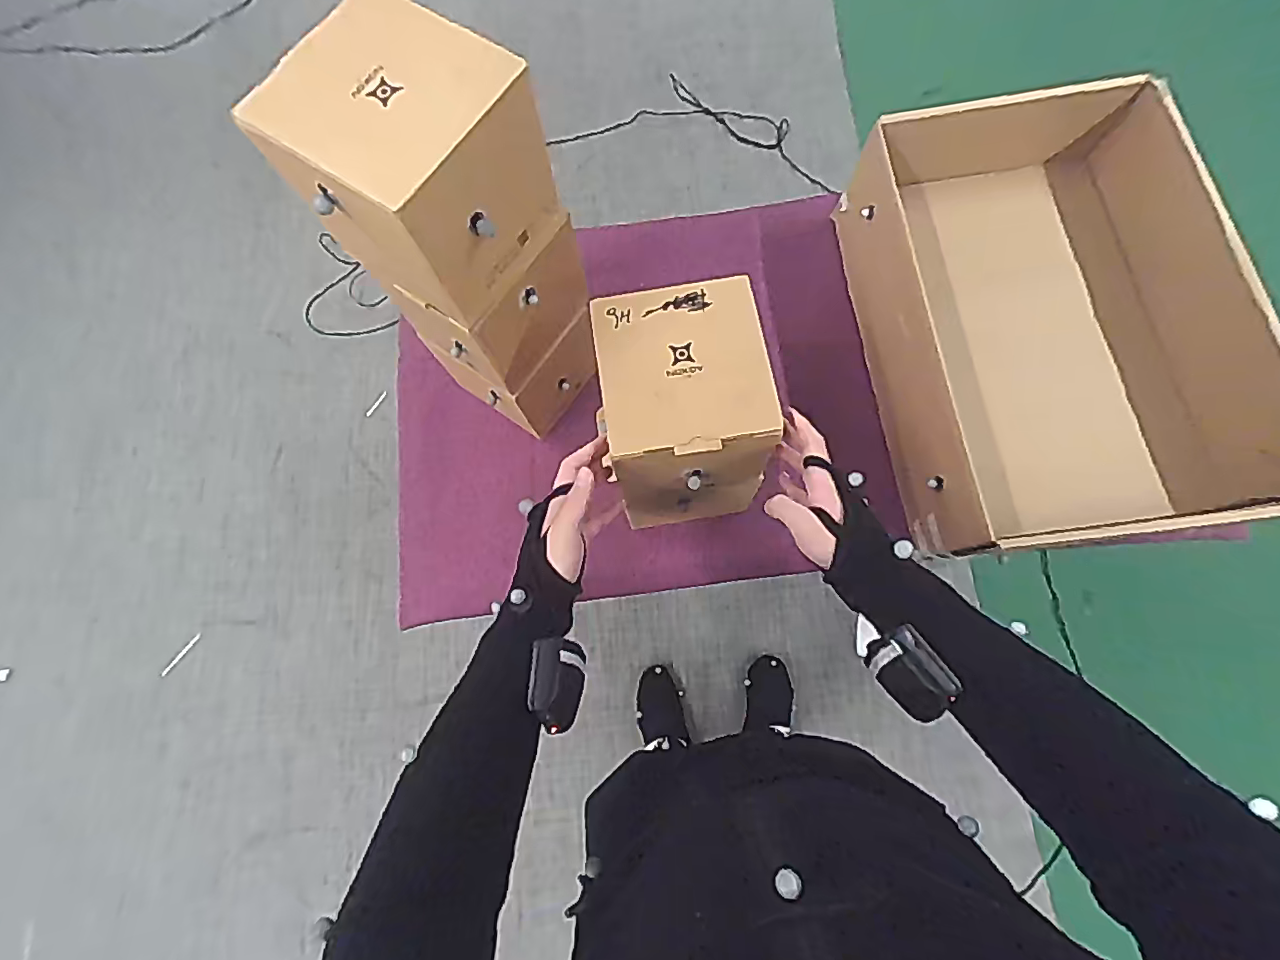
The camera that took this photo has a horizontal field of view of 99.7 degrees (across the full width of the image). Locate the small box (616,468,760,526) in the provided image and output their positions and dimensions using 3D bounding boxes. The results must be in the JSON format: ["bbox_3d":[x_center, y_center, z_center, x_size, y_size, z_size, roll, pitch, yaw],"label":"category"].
[{"bbox_3d":[0.055,-0.039,0.756,0.179,0.176,0.168,-9,74,0],"label":"small box"}]

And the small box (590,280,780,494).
[{"bbox_3d":[0.045,-0.088,0.601,0.168,0.176,0.179,-8,75,0],"label":"small box"}]

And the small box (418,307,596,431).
[{"bbox_3d":[-0.183,-0.194,0.811,0.179,0.176,0.168,34,78,11],"label":"small box"}]

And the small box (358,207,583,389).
[{"bbox_3d":[-0.185,-0.241,0.655,0.168,0.176,0.179,35,79,10],"label":"small box"}]

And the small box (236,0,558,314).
[{"bbox_3d":[-0.197,-0.283,0.499,0.179,0.176,0.168,33,79,10],"label":"small box"}]
